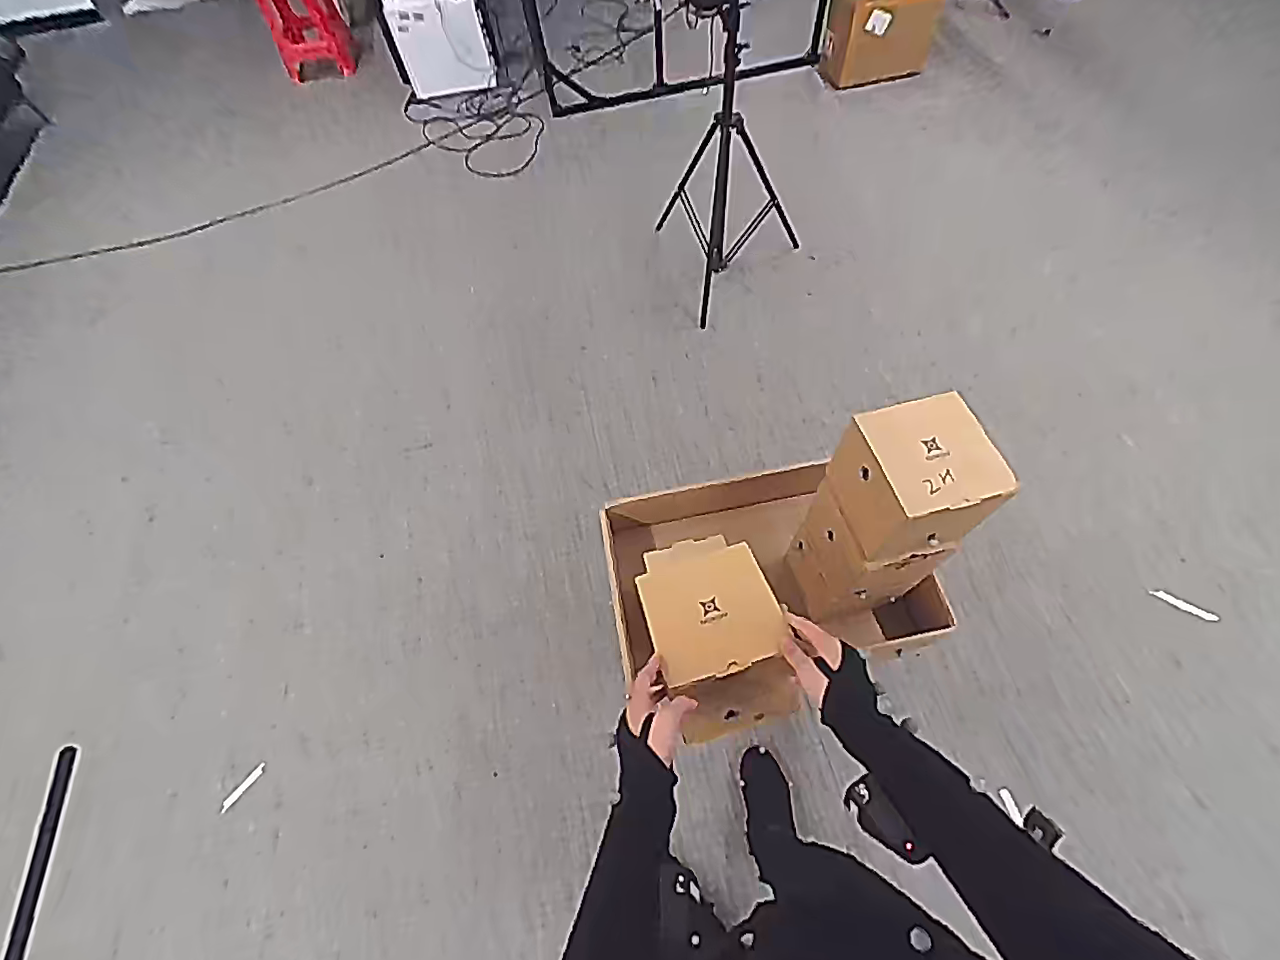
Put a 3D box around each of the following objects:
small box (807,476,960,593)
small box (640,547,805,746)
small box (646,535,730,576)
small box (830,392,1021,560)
[{"bbox_3d":[0.417,0.089,0.960,0.168,0.176,0.179,-13,61,-4],"label":"small box"},{"bbox_3d":[0.109,0.226,0.736,0.168,0.176,0.179,-18,43,-2],"label":"small box"},{"bbox_3d":[0.113,0.237,1.093,0.168,0.176,0.179,-14,62,-2],"label":"small box"},{"bbox_3d":[0.412,-0.001,0.822,0.168,0.176,0.179,-14,62,-4],"label":"small box"}]
